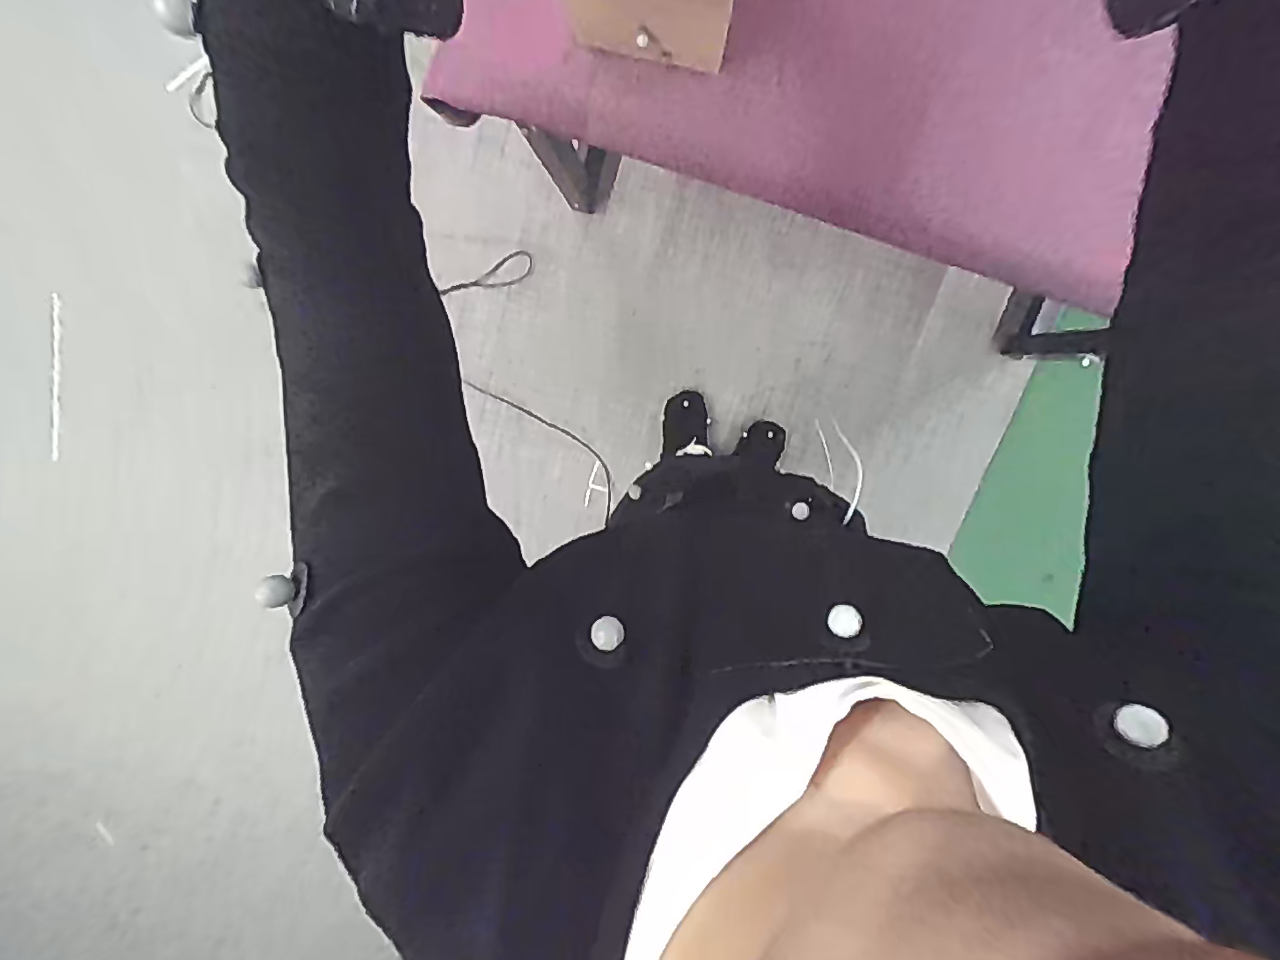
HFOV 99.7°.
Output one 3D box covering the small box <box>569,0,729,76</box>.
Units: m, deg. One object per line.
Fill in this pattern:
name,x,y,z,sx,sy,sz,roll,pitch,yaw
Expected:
small box,0.019,-0.550,0.529,0.168,0.176,0.179,13,102,-1
